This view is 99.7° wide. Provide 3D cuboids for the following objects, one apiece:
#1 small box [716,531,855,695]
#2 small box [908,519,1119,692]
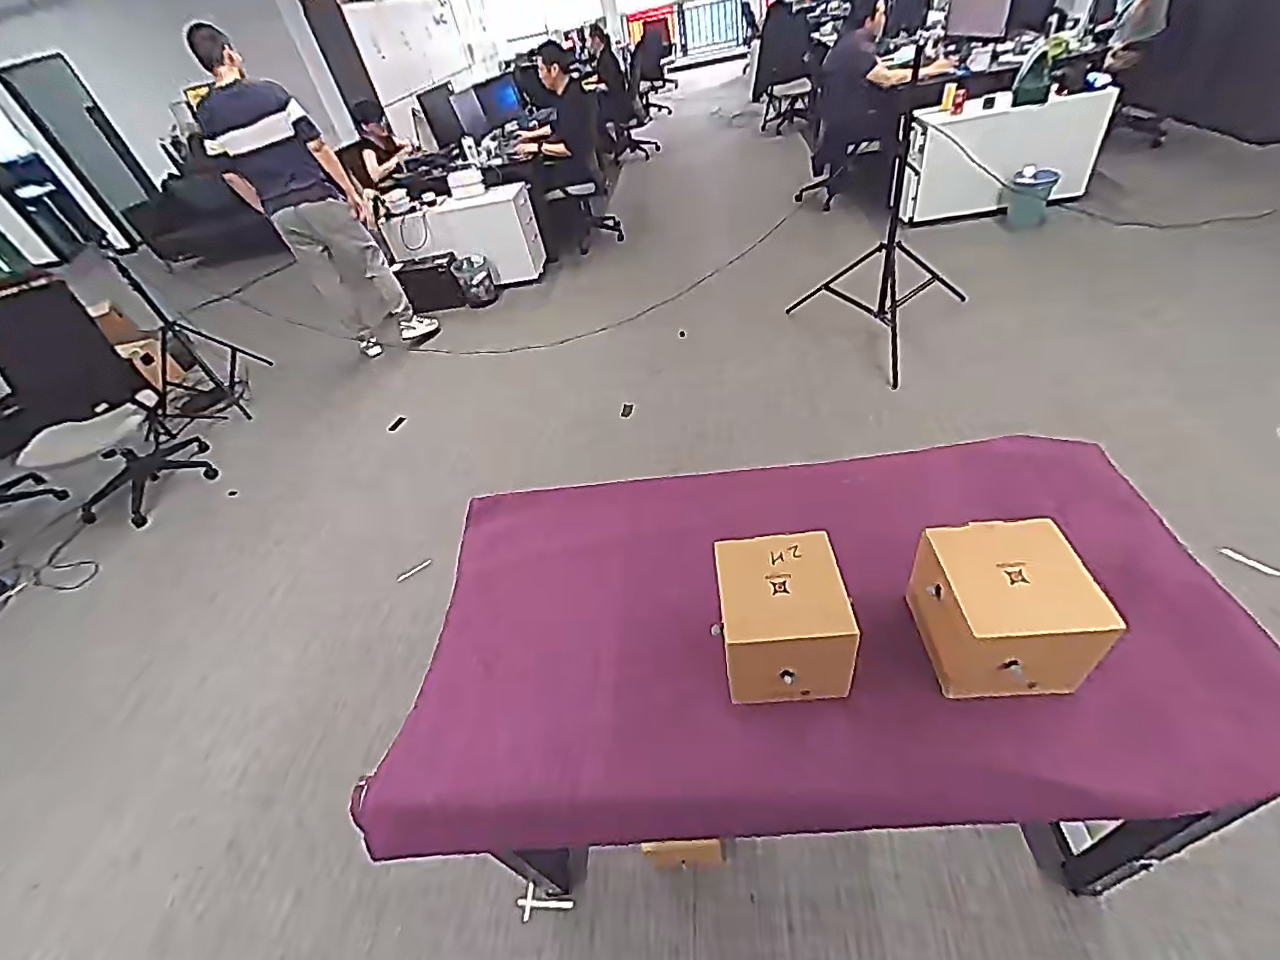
[{"bbox_3d":[0.205,0.201,0.794,0.168,0.176,0.179,-6,41,7],"label":"small box"},{"bbox_3d":[0.492,0.179,0.747,0.168,0.176,0.179,-6,42,8],"label":"small box"}]
